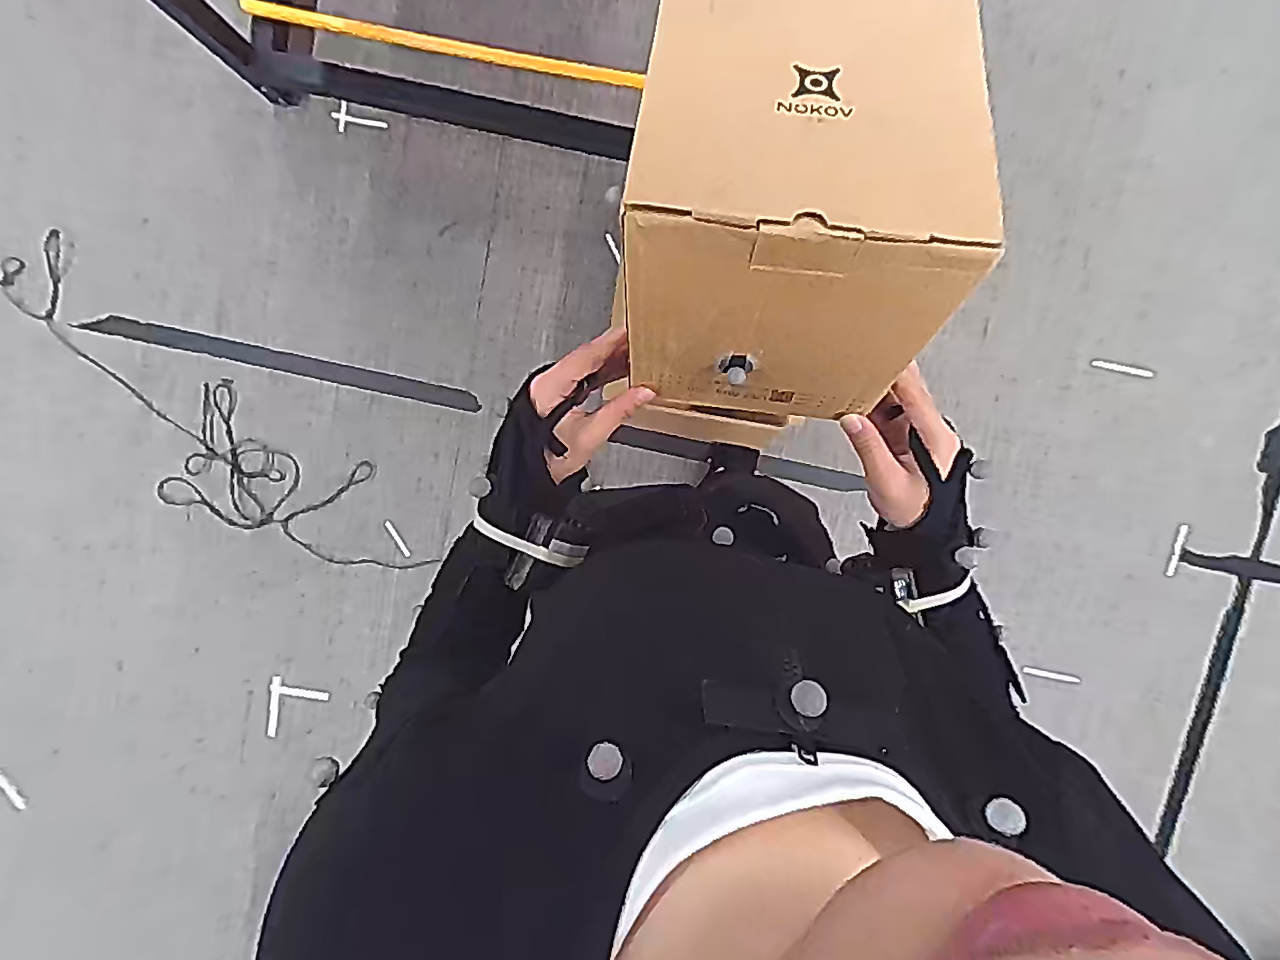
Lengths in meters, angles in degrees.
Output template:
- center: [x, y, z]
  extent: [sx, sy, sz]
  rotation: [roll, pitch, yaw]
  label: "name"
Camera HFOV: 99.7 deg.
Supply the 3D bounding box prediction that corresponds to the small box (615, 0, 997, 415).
- center: [0.080, -0.162, 0.333]
  extent: [0.168, 0.176, 0.179]
  rotation: [7, 71, 3]
  label: "small box"
